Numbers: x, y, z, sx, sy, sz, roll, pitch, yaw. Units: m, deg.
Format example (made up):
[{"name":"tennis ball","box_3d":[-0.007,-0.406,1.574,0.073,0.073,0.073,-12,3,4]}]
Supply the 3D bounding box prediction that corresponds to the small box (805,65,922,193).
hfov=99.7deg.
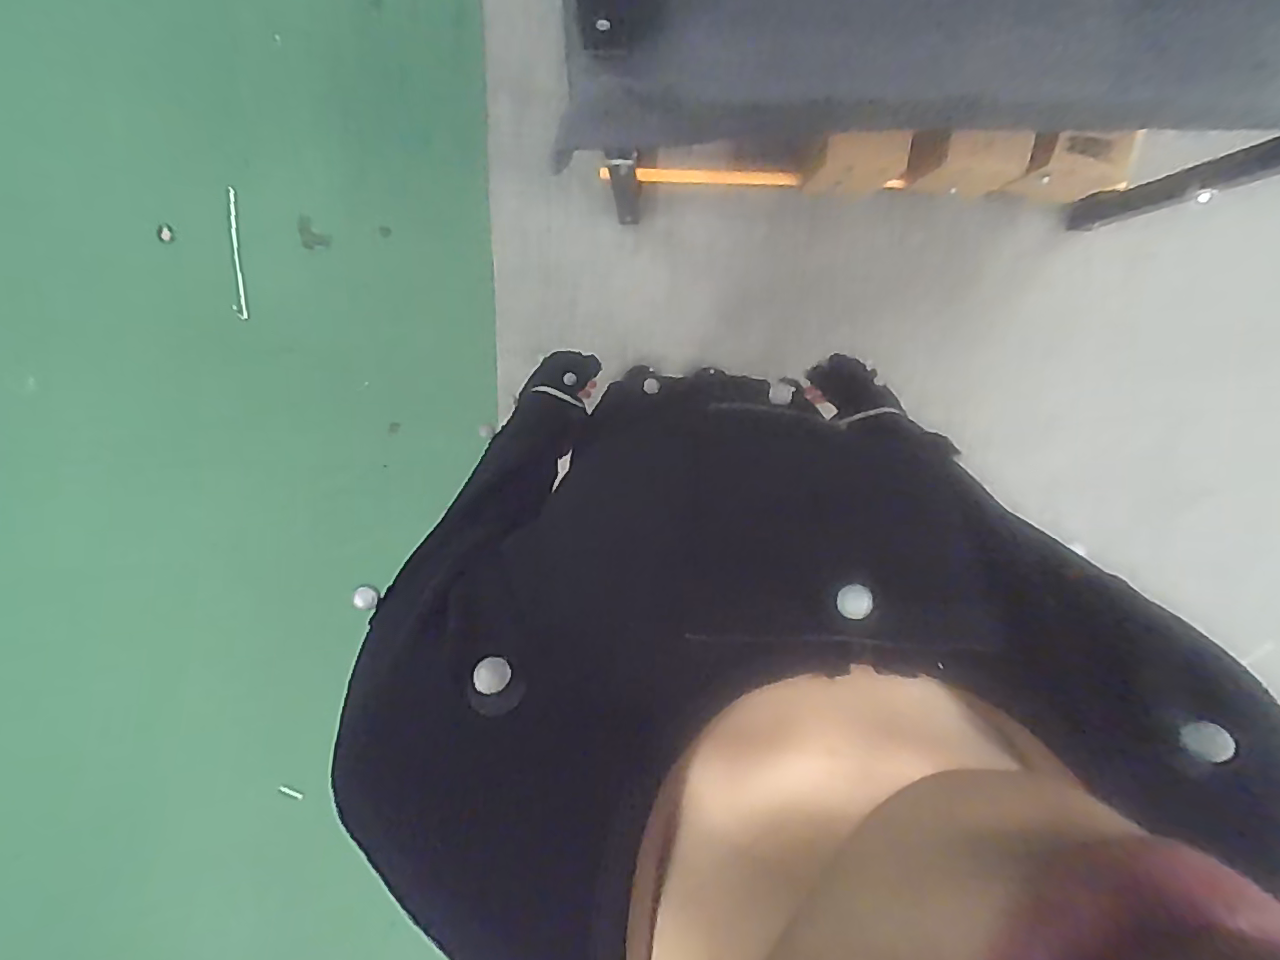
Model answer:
[{"name":"small box","box_3d":[0.456,-0.726,1.133,0.168,0.176,0.179,3,105,0]}]

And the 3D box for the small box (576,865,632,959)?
[{"name":"small box","box_3d":[-0.112,1.351,1.697,0.168,0.176,0.179,1,102,1]}]
